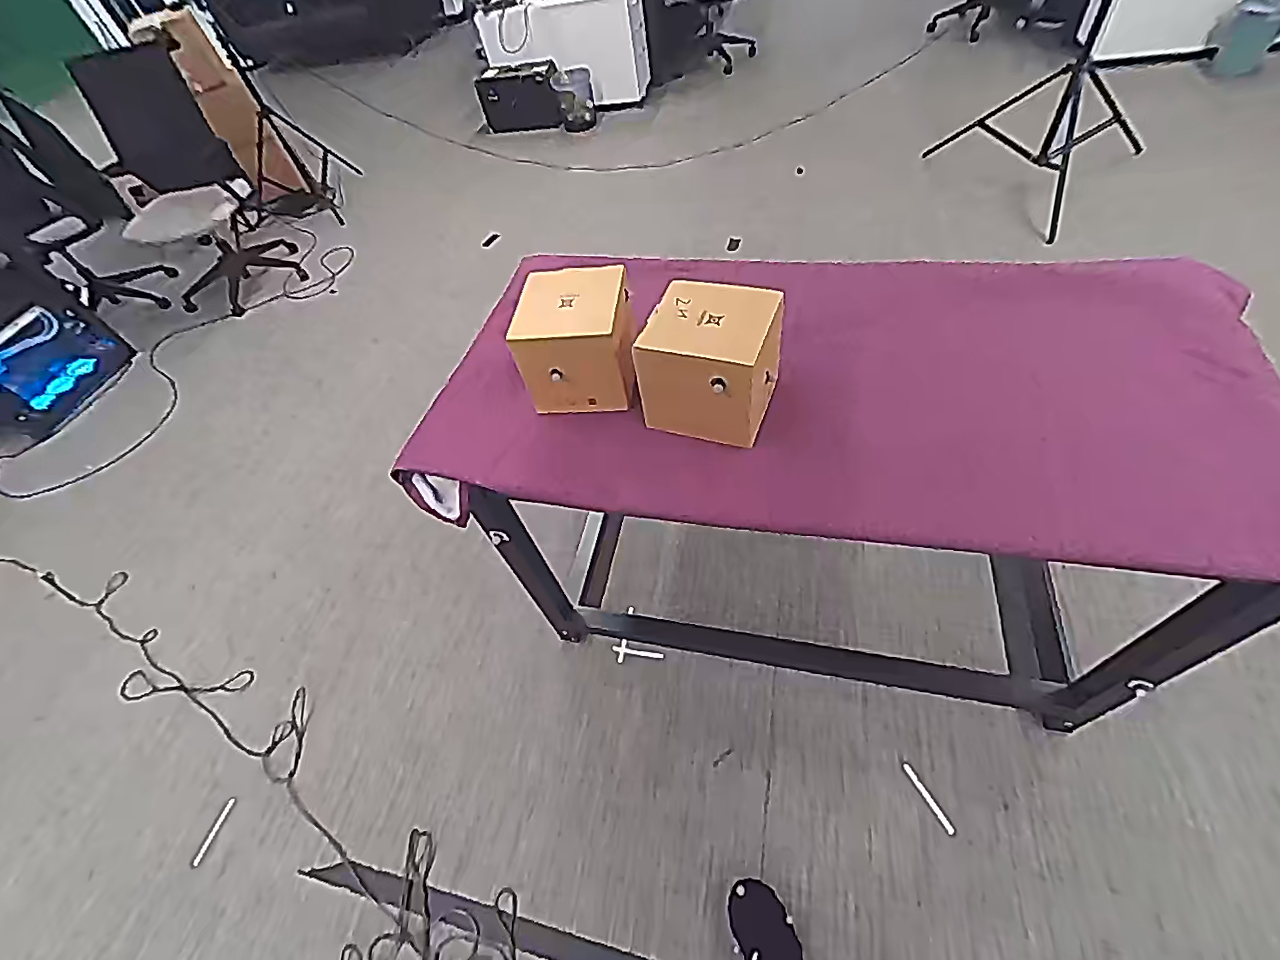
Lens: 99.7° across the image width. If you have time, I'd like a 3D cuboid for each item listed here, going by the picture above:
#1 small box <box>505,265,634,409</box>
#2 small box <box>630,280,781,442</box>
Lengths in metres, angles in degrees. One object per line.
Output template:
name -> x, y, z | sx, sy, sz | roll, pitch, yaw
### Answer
small box -> -0.105, -0.232, 0.912 | 0.168, 0.176, 0.179 | -2, 53, 10
small box -> 0.107, -0.180, 0.831 | 0.179, 0.176, 0.168 | 13, 56, 20
